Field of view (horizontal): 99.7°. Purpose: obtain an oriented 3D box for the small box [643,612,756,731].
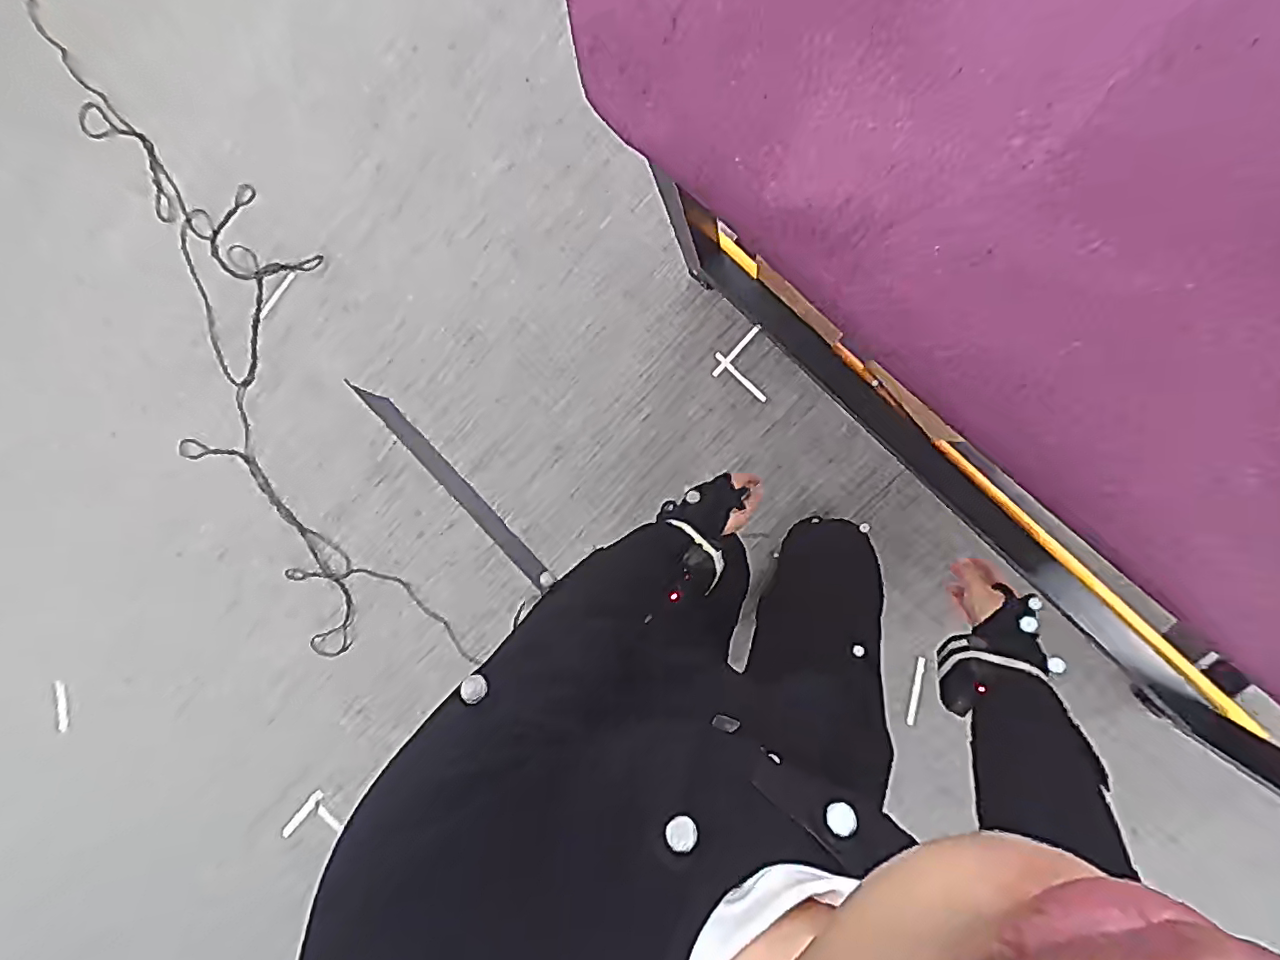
[{"bbox_3d":[0.105,0.346,1.007,0.179,0.176,0.168,13,79,7],"label":"small box"}]
